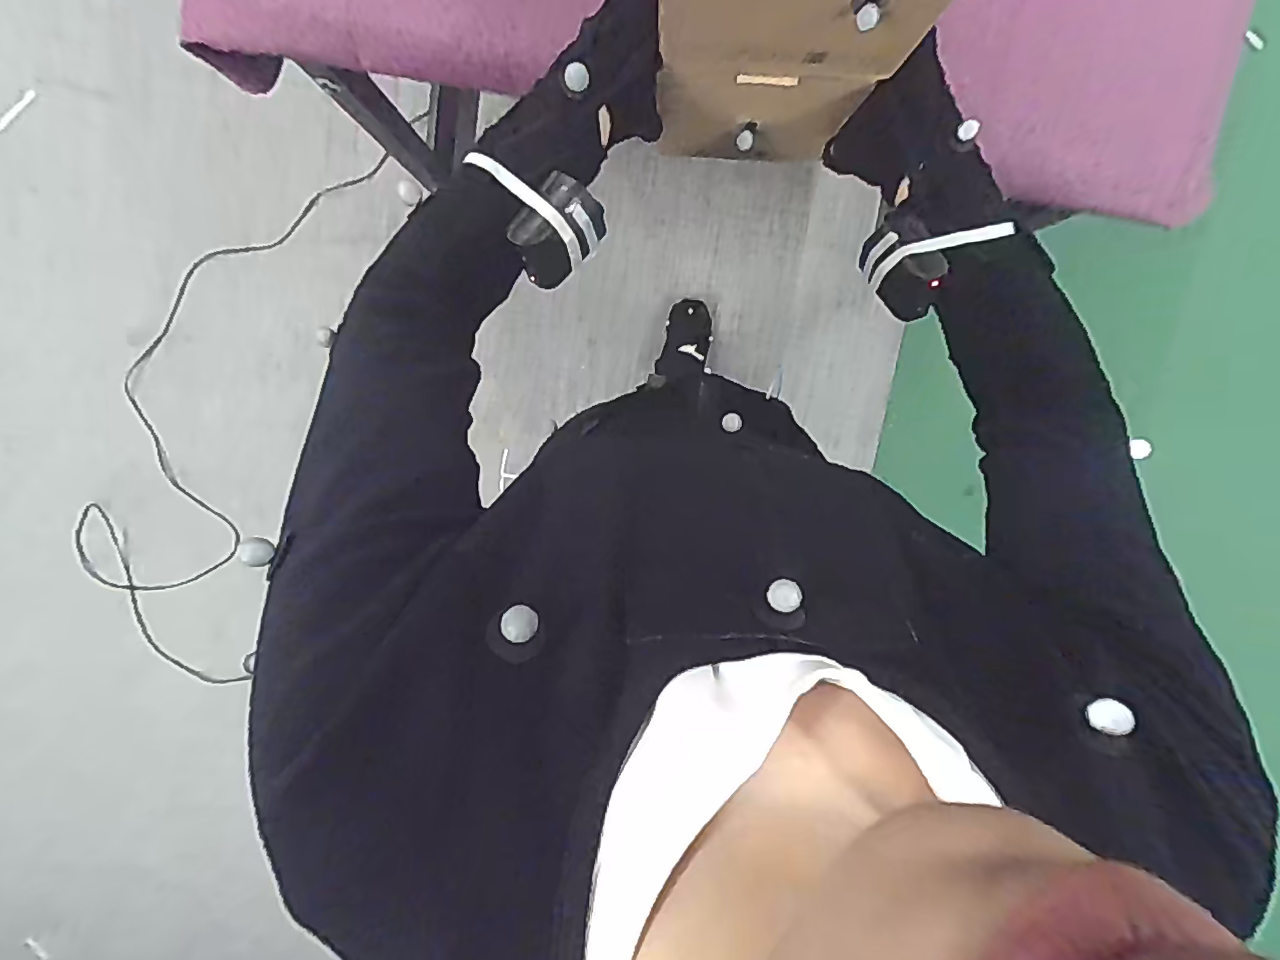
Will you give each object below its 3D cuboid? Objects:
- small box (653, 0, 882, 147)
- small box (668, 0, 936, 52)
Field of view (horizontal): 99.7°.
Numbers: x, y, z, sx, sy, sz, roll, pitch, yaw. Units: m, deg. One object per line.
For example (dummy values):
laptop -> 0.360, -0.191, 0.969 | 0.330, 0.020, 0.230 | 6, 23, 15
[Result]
small box -> 0.098, -0.398, 0.449 | 0.168, 0.176, 0.179 | 1, 102, 3
small box -> 0.099, -0.356, 0.271 | 0.168, 0.176, 0.179 | 3, 103, 1
